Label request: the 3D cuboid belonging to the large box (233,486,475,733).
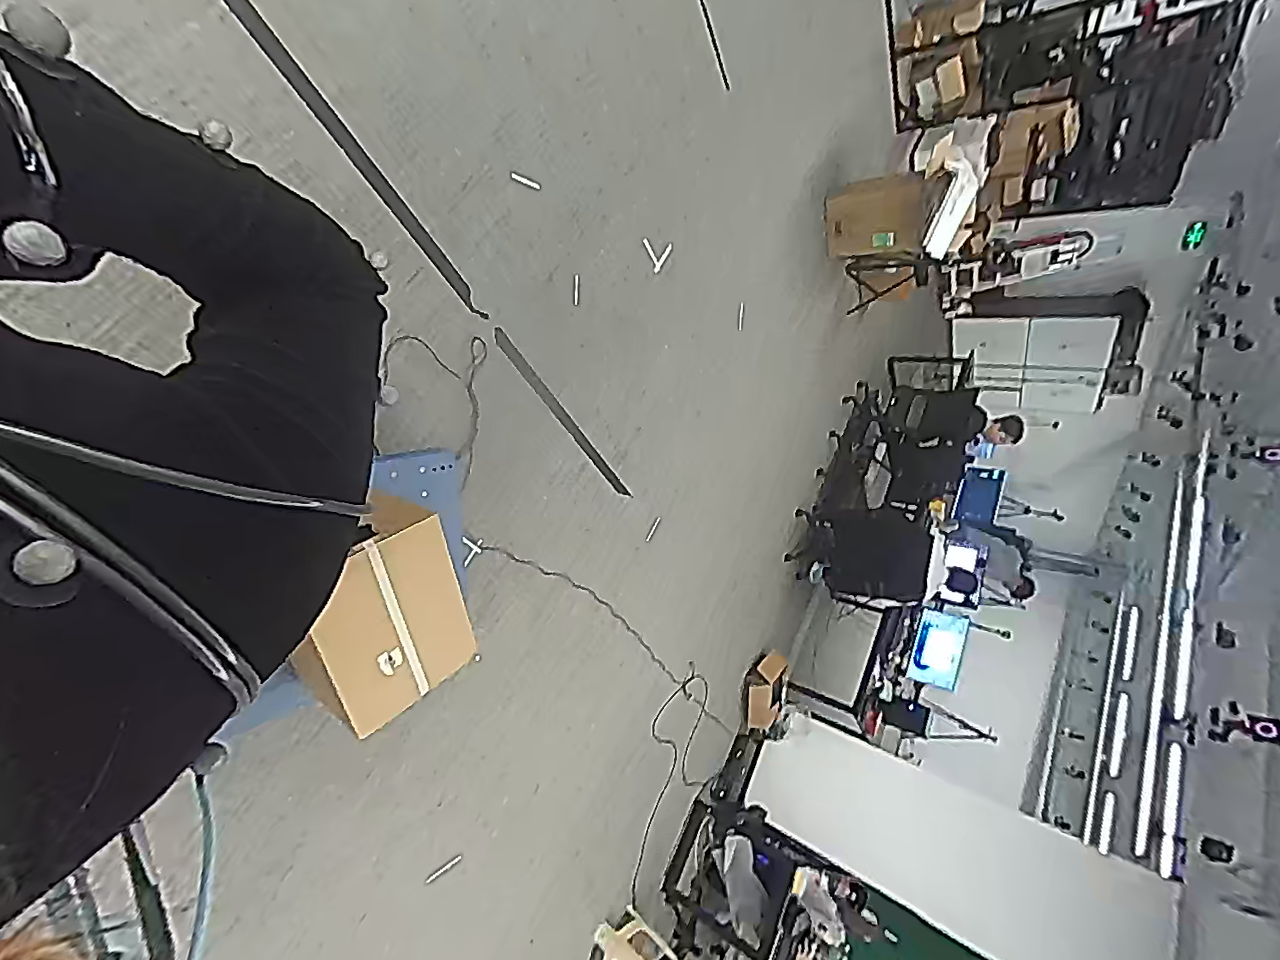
[{"bbox_3d":[-0.642,0.274,1.249,0.320,0.320,0.408,-32,125,-43],"label":"large box"}]
